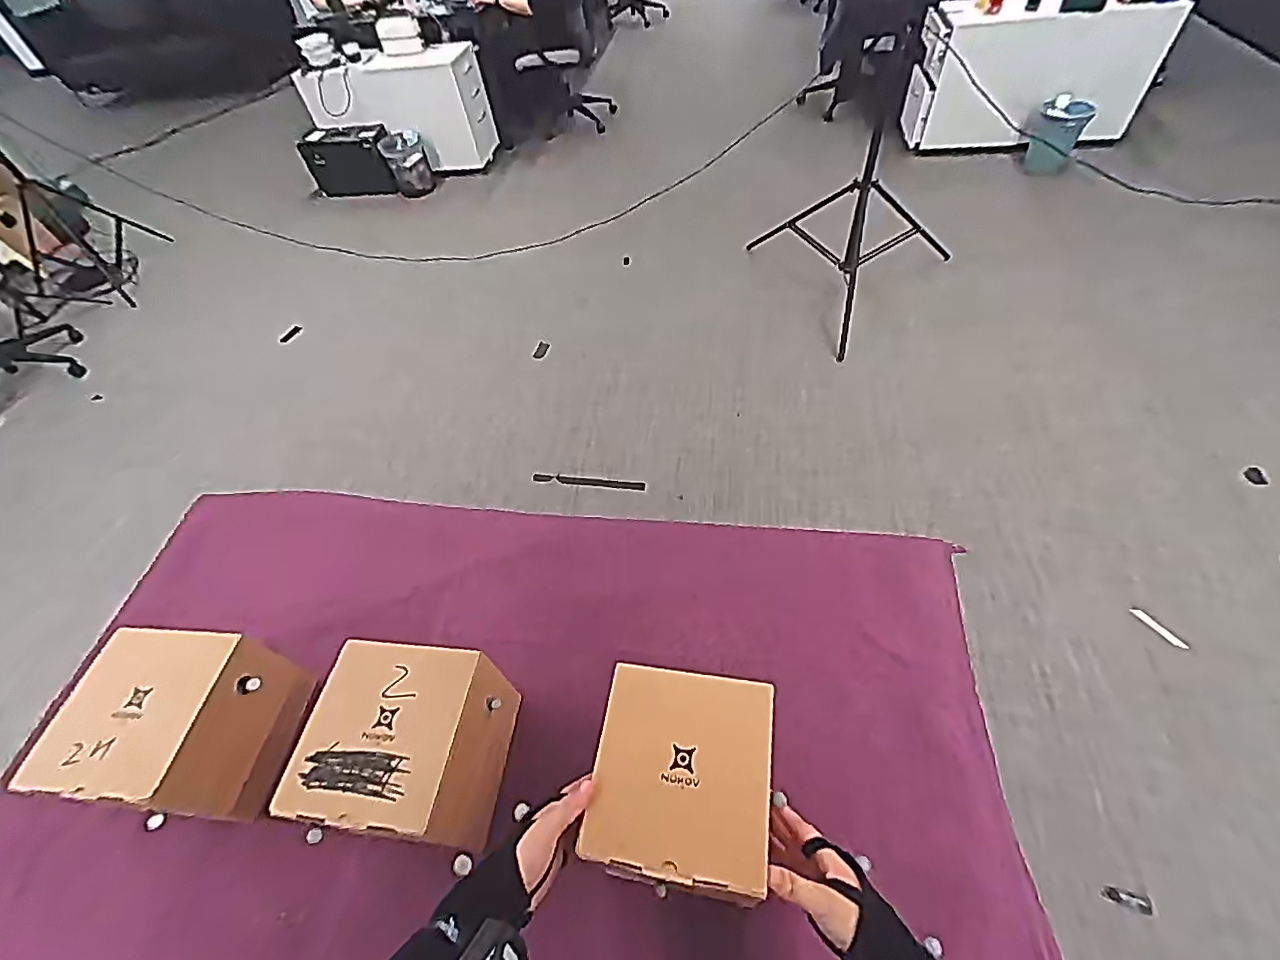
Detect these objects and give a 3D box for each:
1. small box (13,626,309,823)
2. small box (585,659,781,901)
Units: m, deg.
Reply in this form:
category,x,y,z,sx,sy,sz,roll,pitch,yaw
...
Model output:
category,x,y,z,sx,sy,sz,roll,pitch,yaw
small box,-0.542,0.295,0.651,0.168,0.176,0.179,1,53,7
small box,0.053,0.312,0.564,0.168,0.176,0.179,4,52,12
